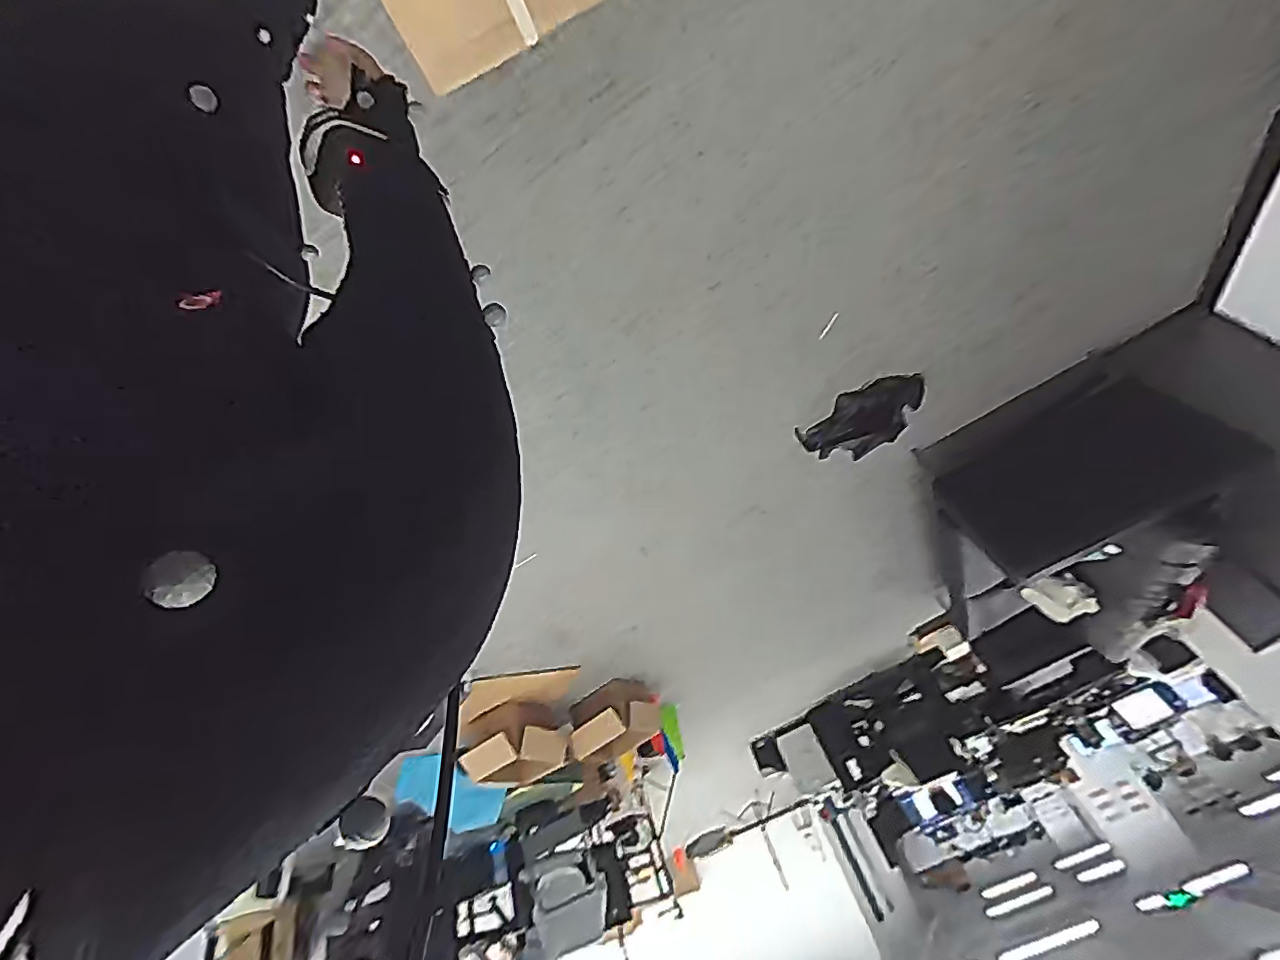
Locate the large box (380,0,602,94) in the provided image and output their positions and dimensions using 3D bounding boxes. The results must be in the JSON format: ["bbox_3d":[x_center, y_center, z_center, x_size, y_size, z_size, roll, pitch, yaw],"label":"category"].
[{"bbox_3d":[-0.269,-0.827,0.696,0.320,0.320,0.408,-27,142,5],"label":"large box"}]
